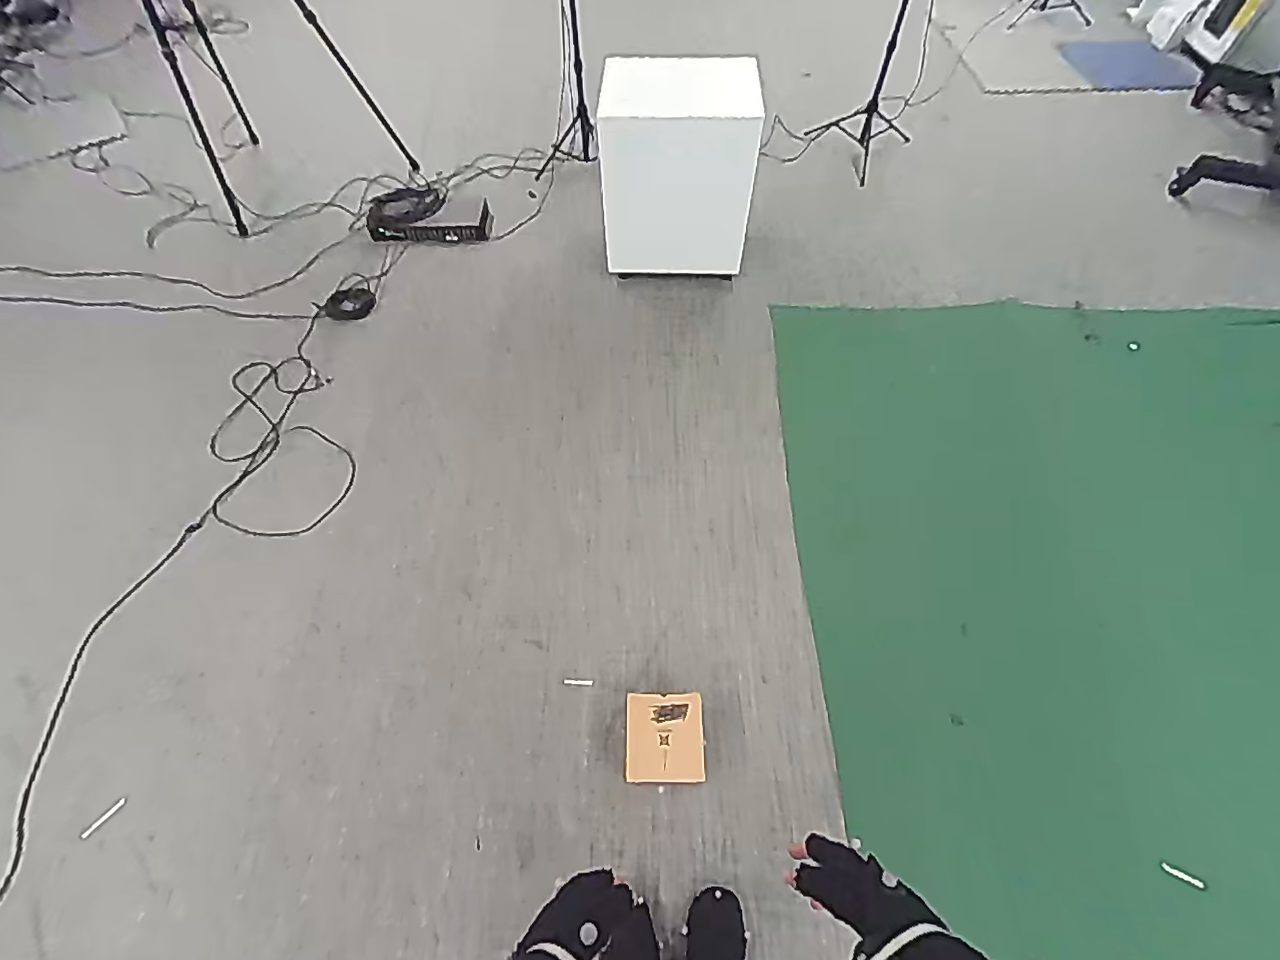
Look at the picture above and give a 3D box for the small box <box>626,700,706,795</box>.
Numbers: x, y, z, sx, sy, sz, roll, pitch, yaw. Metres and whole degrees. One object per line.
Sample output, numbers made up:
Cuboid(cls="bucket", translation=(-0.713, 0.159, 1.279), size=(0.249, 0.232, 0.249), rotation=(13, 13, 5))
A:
Cuboid(cls="small box", translation=(0.052, 0.599, 1.208), size=(0.168, 0.176, 0.179), rotation=(0, 59, 0))
